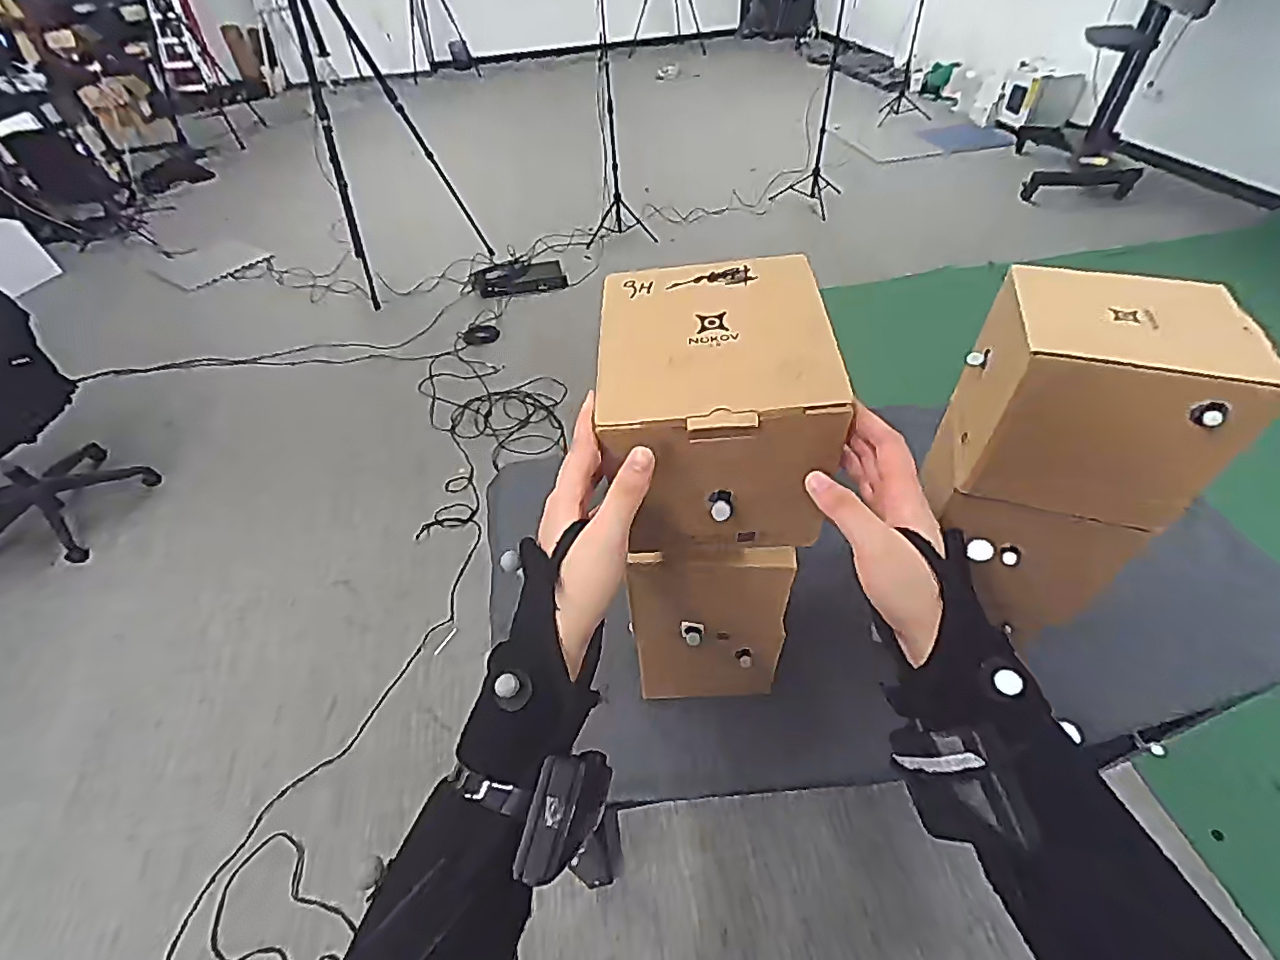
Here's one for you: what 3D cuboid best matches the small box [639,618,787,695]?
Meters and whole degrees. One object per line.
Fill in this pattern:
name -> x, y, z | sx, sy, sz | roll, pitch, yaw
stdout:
small box -> 0.089, 0.182, 0.744 | 0.179, 0.176, 0.168 | -3, 46, 2

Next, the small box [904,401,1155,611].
small box -> 0.431, 0.029, 0.631 | 0.179, 0.176, 0.168 | 14, 49, 17

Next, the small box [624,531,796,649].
small box -> 0.077, 0.074, 0.624 | 0.168, 0.176, 0.179 | 0, 48, 6

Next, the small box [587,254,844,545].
small box -> 0.058, -0.055, 0.450 | 0.168, 0.176, 0.179 | -4, 54, 6

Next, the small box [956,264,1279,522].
small box -> 0.418, -0.083, 0.513 | 0.179, 0.176, 0.168 | 13, 49, 15
